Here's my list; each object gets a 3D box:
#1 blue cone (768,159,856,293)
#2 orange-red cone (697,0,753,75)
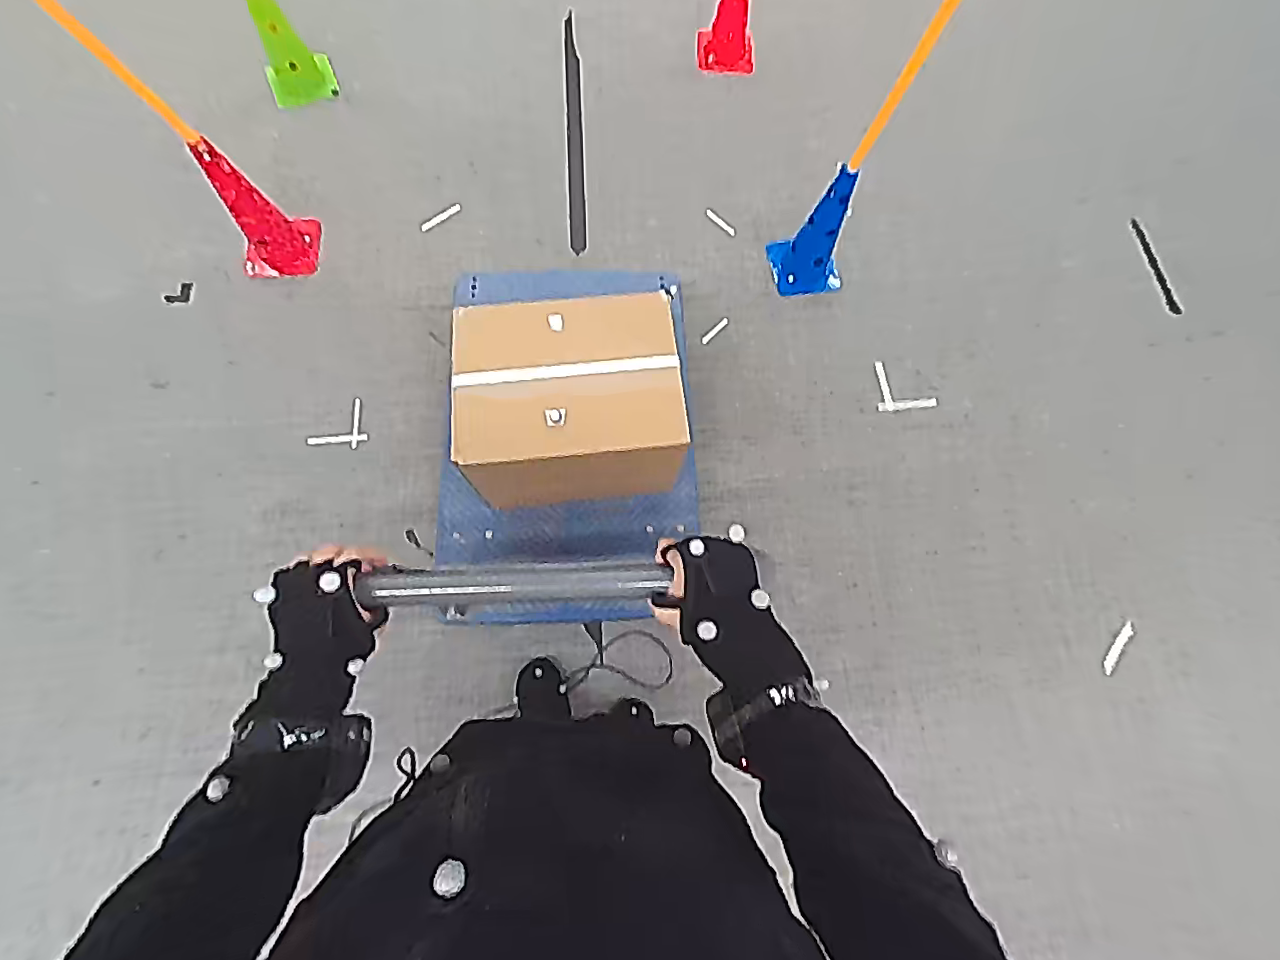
[{"bbox_3d":[0.508,-0.708,1.502,0.193,0.380,0.192,-7,72,-6],"label":"blue cone"},{"bbox_3d":[0.313,-1.563,1.750,0.199,0.360,0.198,3,73,-3],"label":"orange-red cone"}]
